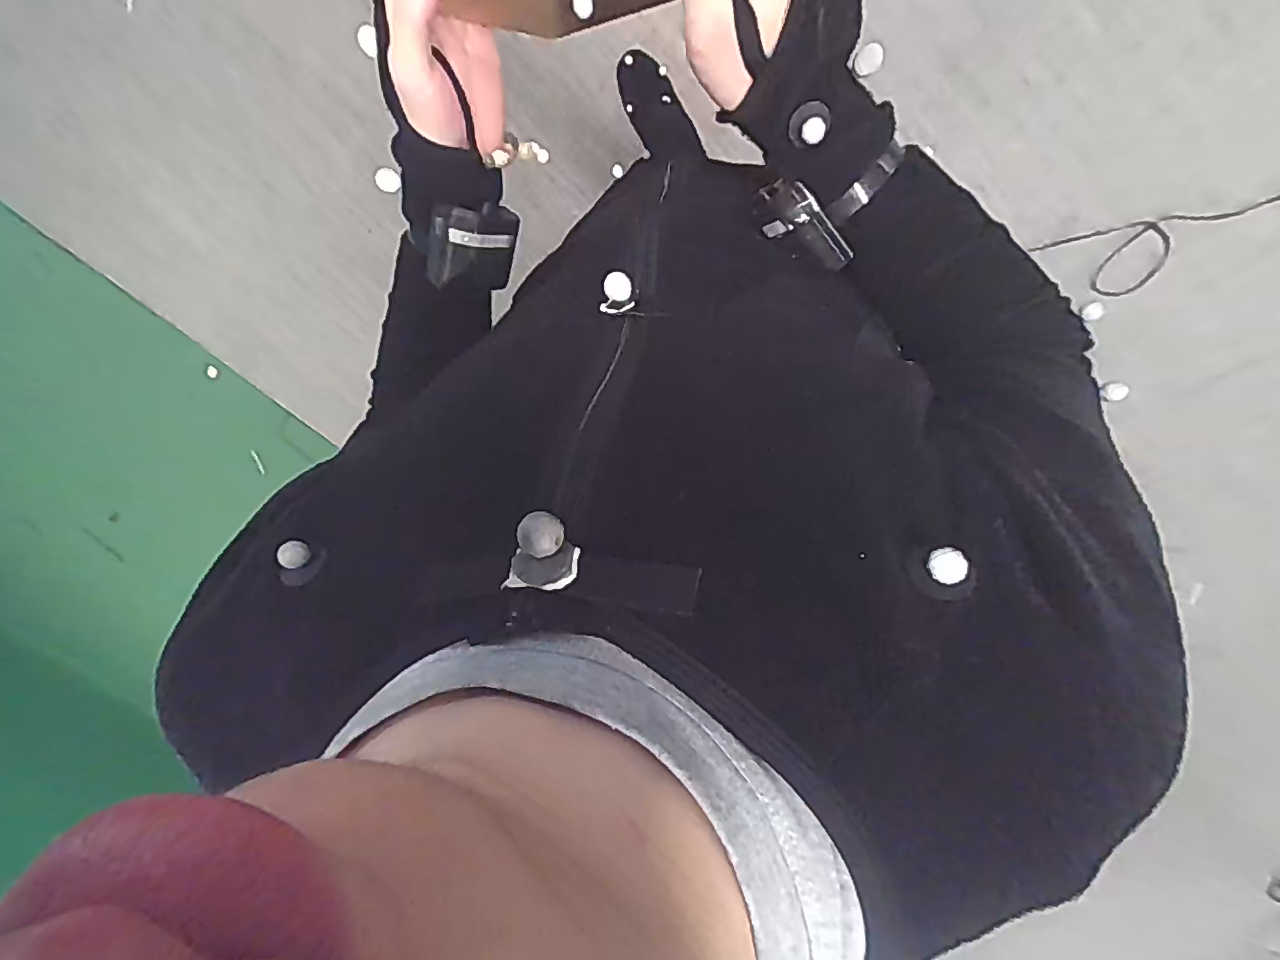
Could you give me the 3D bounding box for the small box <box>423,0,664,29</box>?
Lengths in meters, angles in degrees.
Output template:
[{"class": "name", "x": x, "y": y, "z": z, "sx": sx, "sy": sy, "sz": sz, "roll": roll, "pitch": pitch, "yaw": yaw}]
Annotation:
[{"class": "small box", "x": -0.037, "y": -0.371, "z": 0.285, "sx": 0.179, "sy": 0.176, "sz": 0.168, "roll": 5, "pitch": 122, "yaw": 26}]
